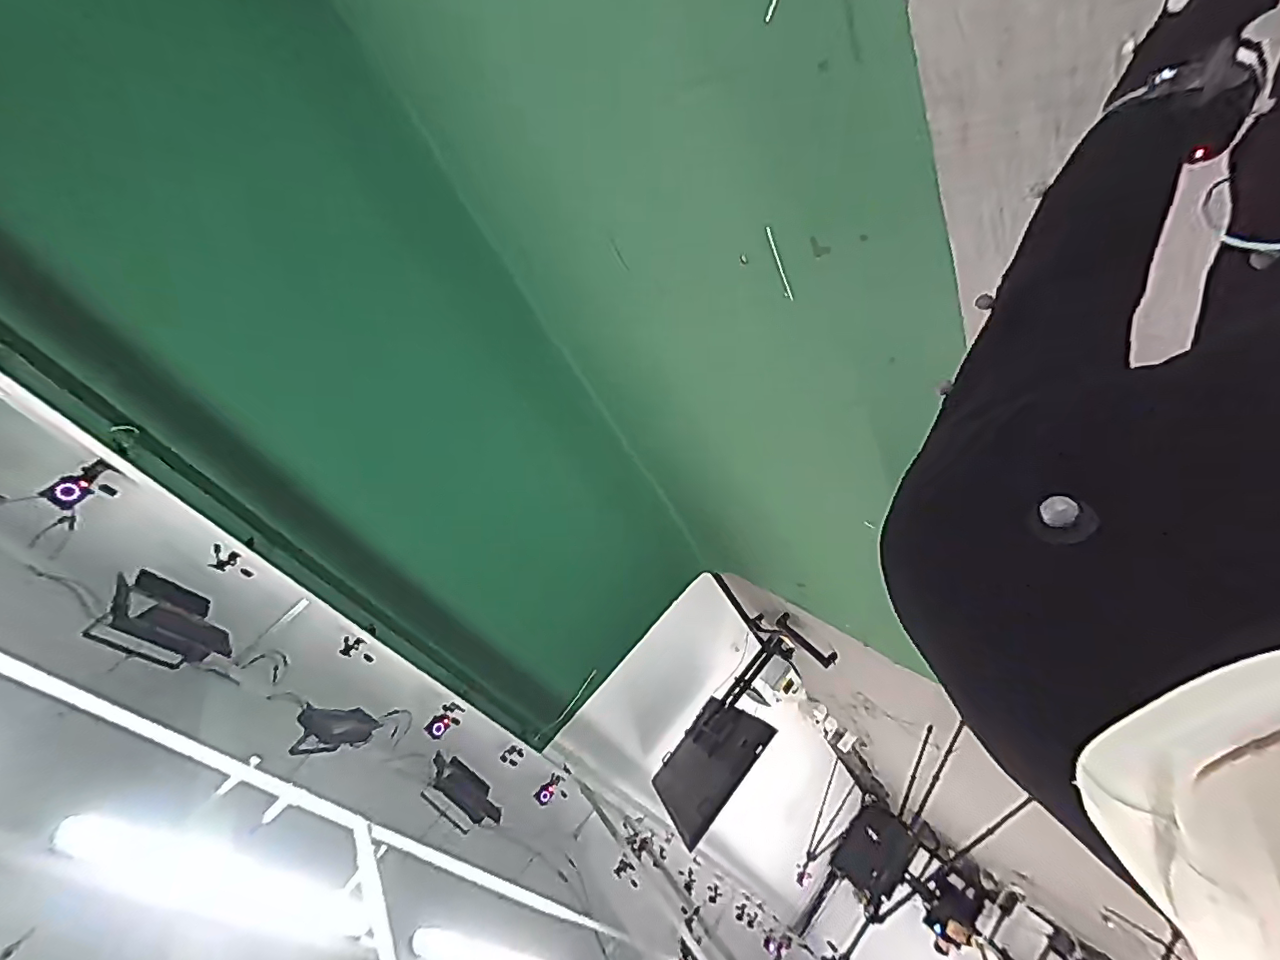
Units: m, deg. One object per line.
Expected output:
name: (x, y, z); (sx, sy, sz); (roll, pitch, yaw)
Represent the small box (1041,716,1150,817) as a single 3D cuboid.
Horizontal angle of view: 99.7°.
small box: (1.272, 0.781, 1.509); (0.179, 0.176, 0.168); (49, 163, -19)
